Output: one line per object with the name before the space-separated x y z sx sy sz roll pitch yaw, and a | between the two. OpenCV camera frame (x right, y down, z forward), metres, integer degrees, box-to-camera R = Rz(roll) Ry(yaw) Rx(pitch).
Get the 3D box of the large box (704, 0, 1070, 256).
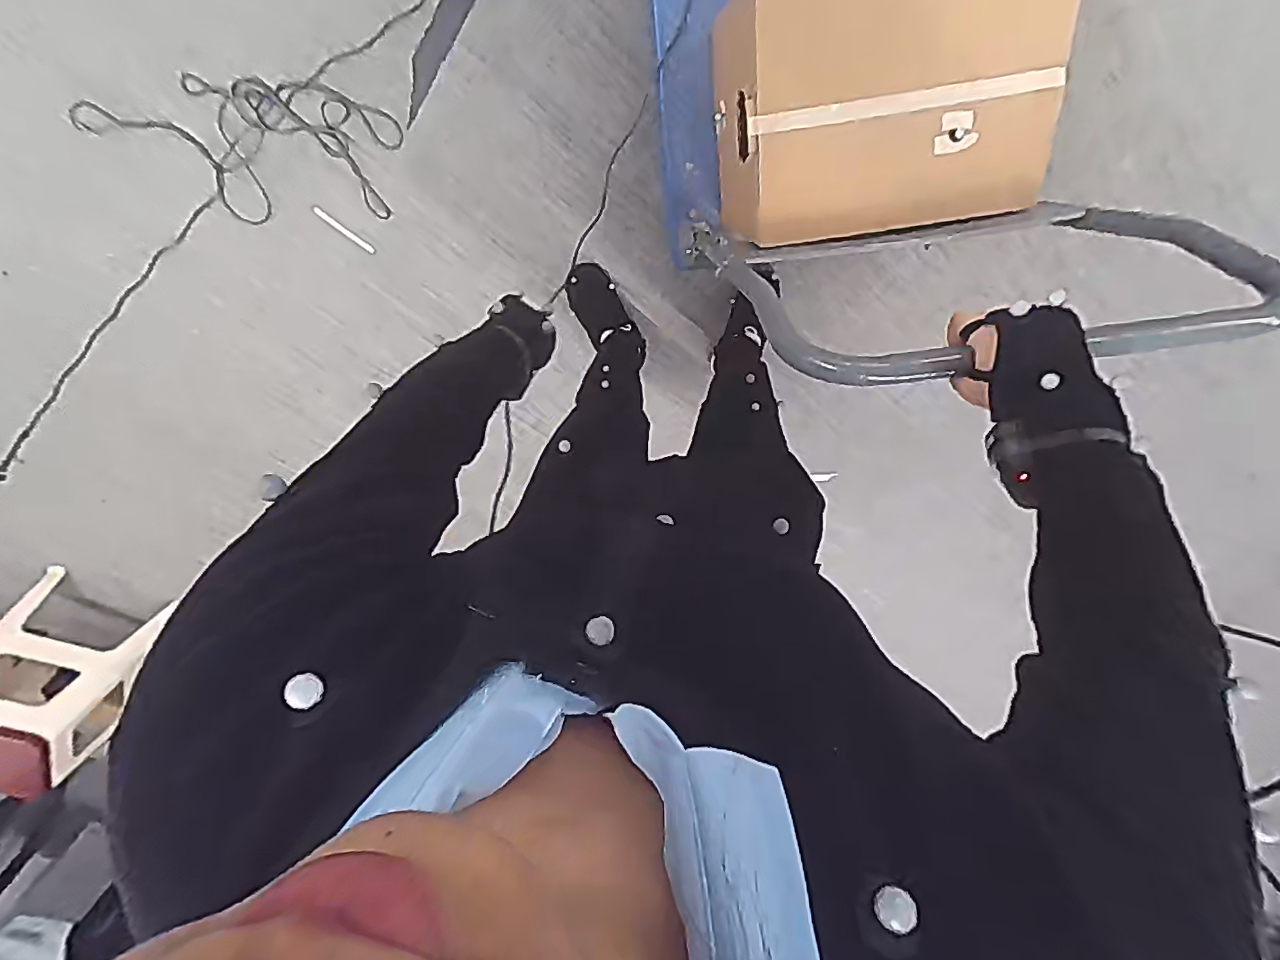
large box | 0.332 -0.561 0.837 0.408 0.320 0.320 -9 121 1
